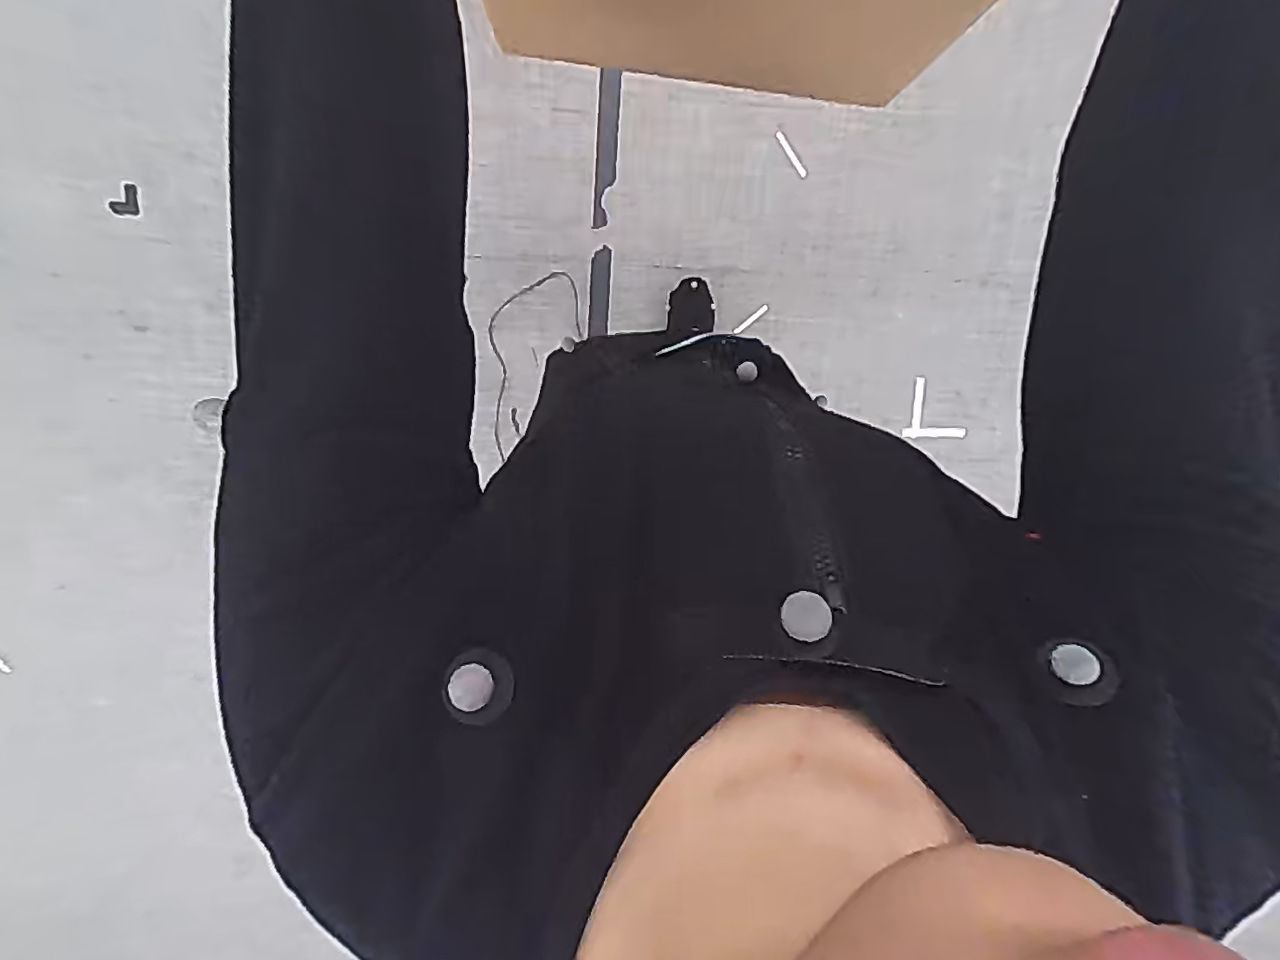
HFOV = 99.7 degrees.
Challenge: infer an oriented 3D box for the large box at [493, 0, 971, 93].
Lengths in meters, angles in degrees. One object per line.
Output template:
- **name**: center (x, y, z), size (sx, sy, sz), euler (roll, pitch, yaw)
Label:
- **large box**: center (0.080, -0.539, 0.389), size (0.408, 0.320, 0.320), euler (4, 103, -5)
